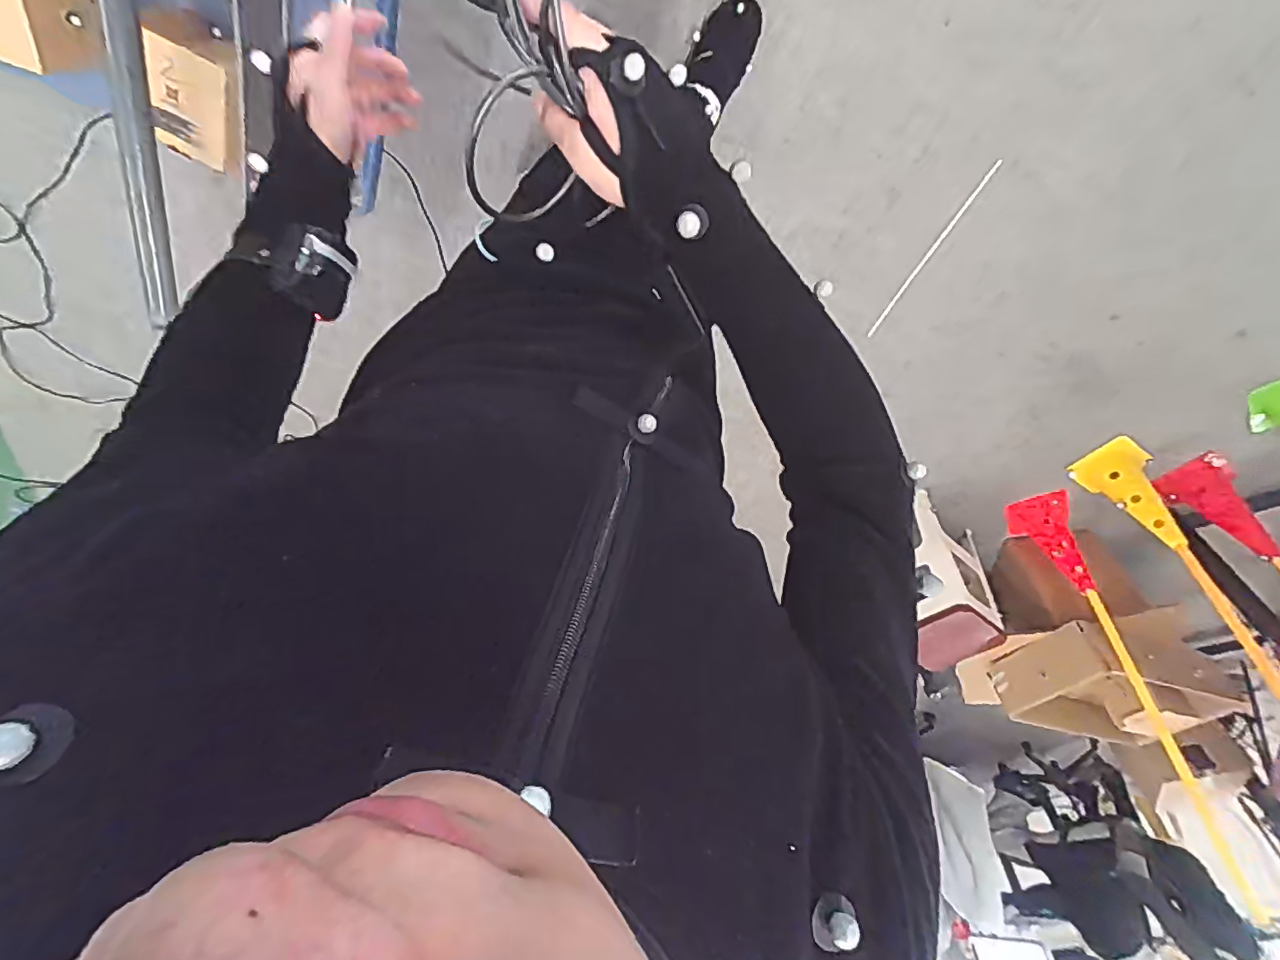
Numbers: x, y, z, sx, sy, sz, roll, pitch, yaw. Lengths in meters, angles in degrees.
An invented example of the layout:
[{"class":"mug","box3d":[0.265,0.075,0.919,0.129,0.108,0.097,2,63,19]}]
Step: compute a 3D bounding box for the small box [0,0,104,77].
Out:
[{"class":"small box","box3d":[-1.043,-0.804,0.887,0.179,0.176,0.168,16,131,-14]}]
